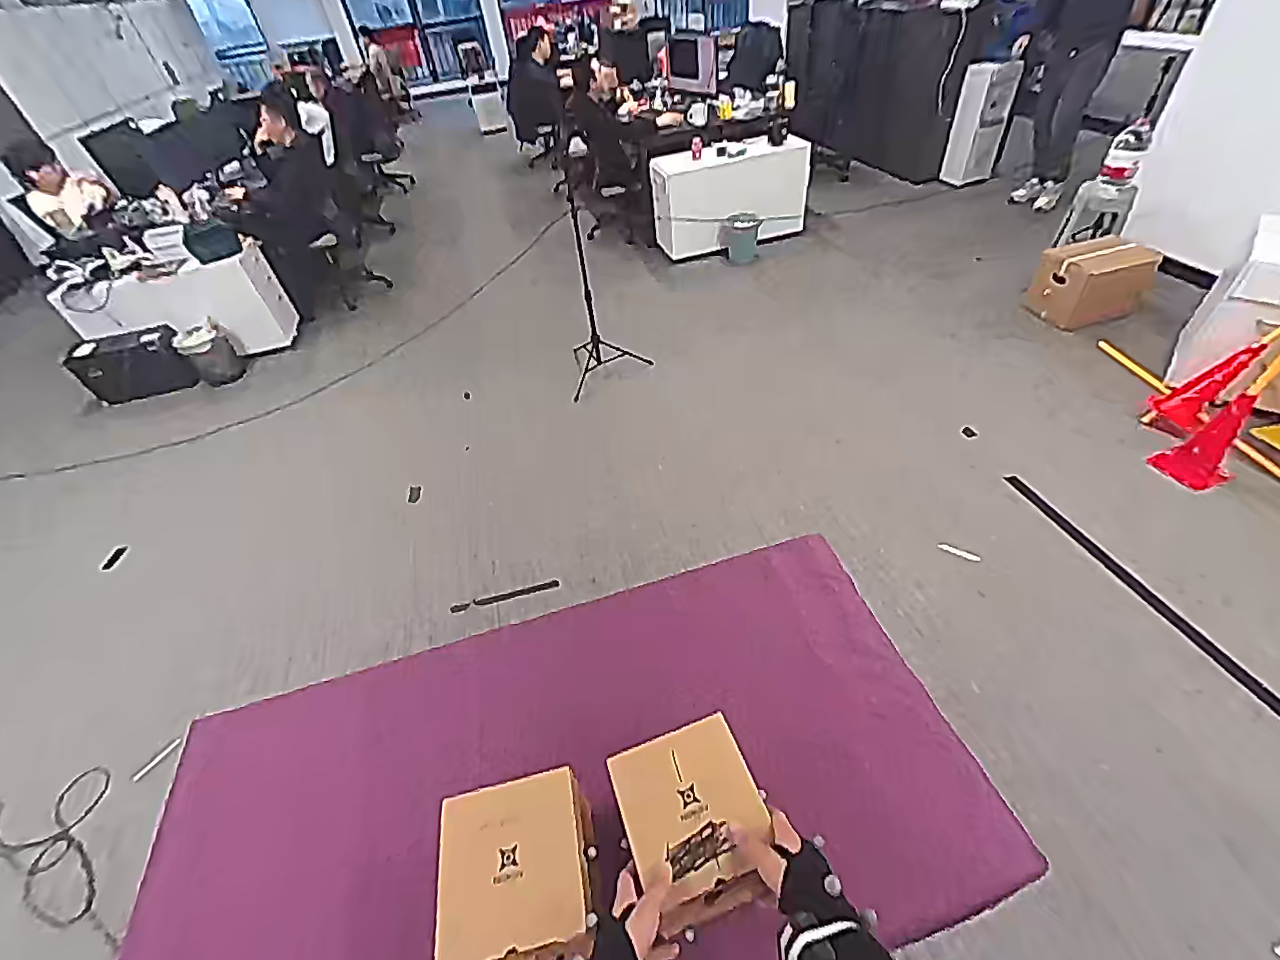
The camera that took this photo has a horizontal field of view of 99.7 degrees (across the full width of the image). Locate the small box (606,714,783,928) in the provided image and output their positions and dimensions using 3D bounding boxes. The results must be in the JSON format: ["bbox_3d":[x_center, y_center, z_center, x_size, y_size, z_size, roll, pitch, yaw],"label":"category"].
[{"bbox_3d":[0.069,0.446,0.703,0.168,0.176,0.179,-18,44,-10],"label":"small box"}]

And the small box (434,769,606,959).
[{"bbox_3d":[-0.144,0.501,0.681,0.168,0.176,0.179,-12,44,-5],"label":"small box"}]
